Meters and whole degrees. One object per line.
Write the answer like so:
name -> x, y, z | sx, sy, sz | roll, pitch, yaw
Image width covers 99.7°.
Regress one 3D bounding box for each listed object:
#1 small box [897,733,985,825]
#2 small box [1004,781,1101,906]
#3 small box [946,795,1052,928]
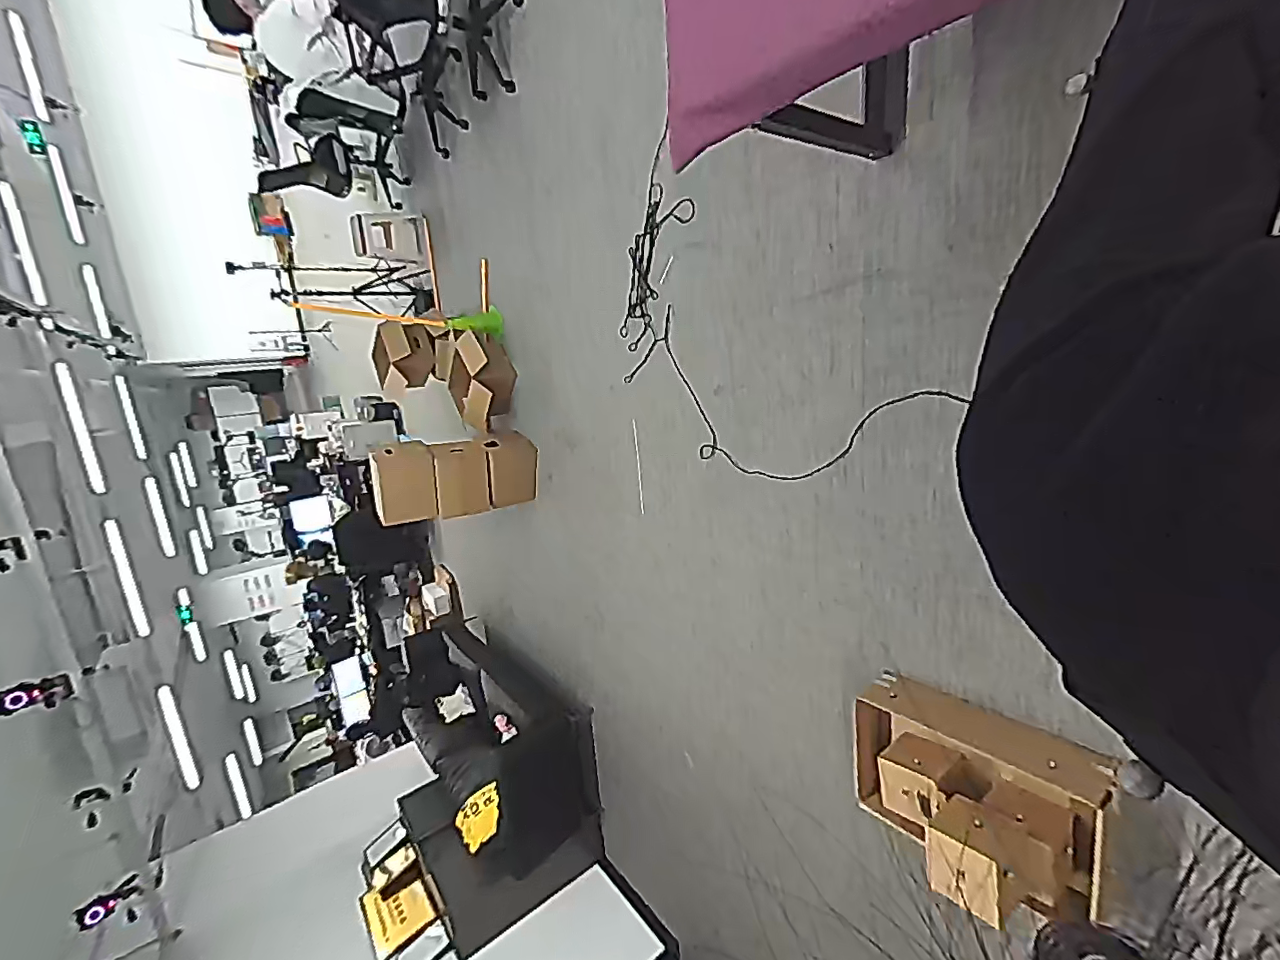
small box -> 0.894, 0.882, 1.598 | 0.179, 0.176, 0.168 | -2, 99, 55
small box -> 1.048, 0.916, 1.386 | 0.179, 0.176, 0.168 | 5, 104, 57
small box -> 0.886, 0.924, 1.333 | 0.168, 0.176, 0.179 | 2, 102, 58
